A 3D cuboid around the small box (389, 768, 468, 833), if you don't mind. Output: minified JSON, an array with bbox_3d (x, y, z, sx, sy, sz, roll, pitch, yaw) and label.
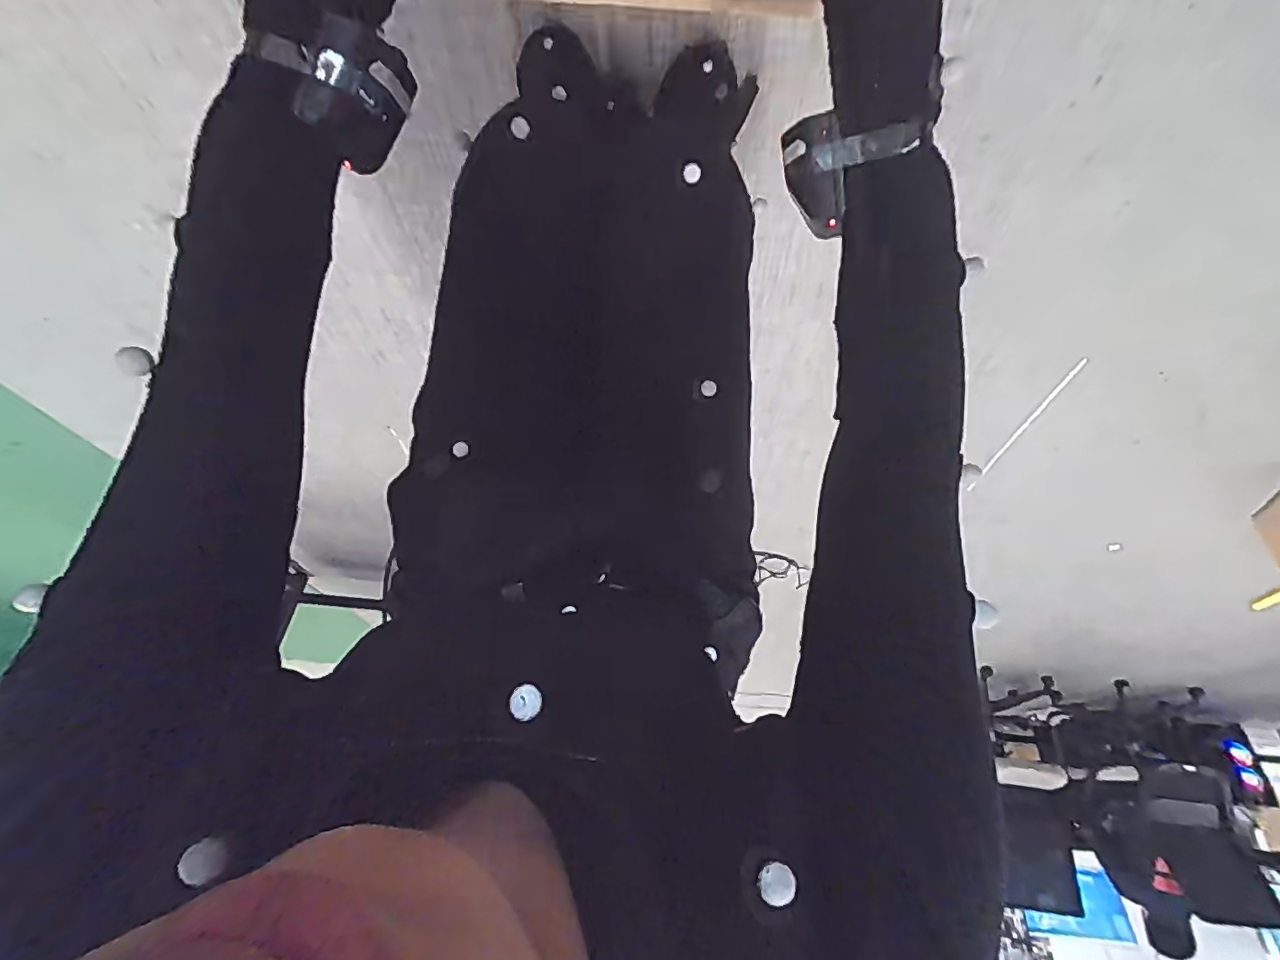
[{"bbox_3d":[-0.692,1.058,1.786,0.168,0.176,0.179,3,149,7],"label":"small box"}]
